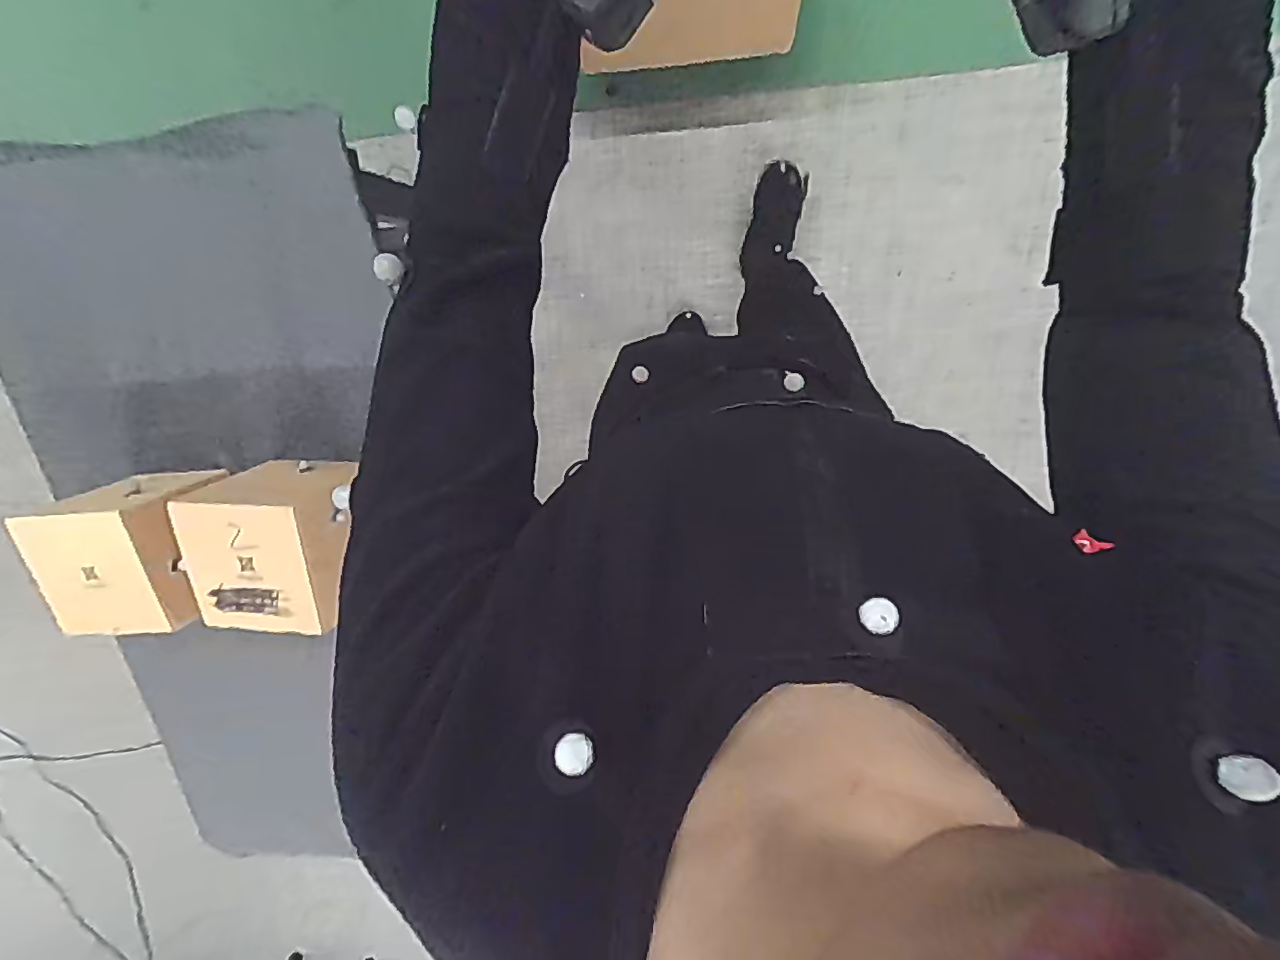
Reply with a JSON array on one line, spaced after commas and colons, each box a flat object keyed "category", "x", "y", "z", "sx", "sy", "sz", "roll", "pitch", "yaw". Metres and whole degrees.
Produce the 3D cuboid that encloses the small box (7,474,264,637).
[{"category": "small box", "x": -0.685, "y": 0.097, "z": 0.760, "sx": 0.168, "sy": 0.176, "sz": 0.179, "roll": -4, "pitch": 111, "yaw": 7}]
